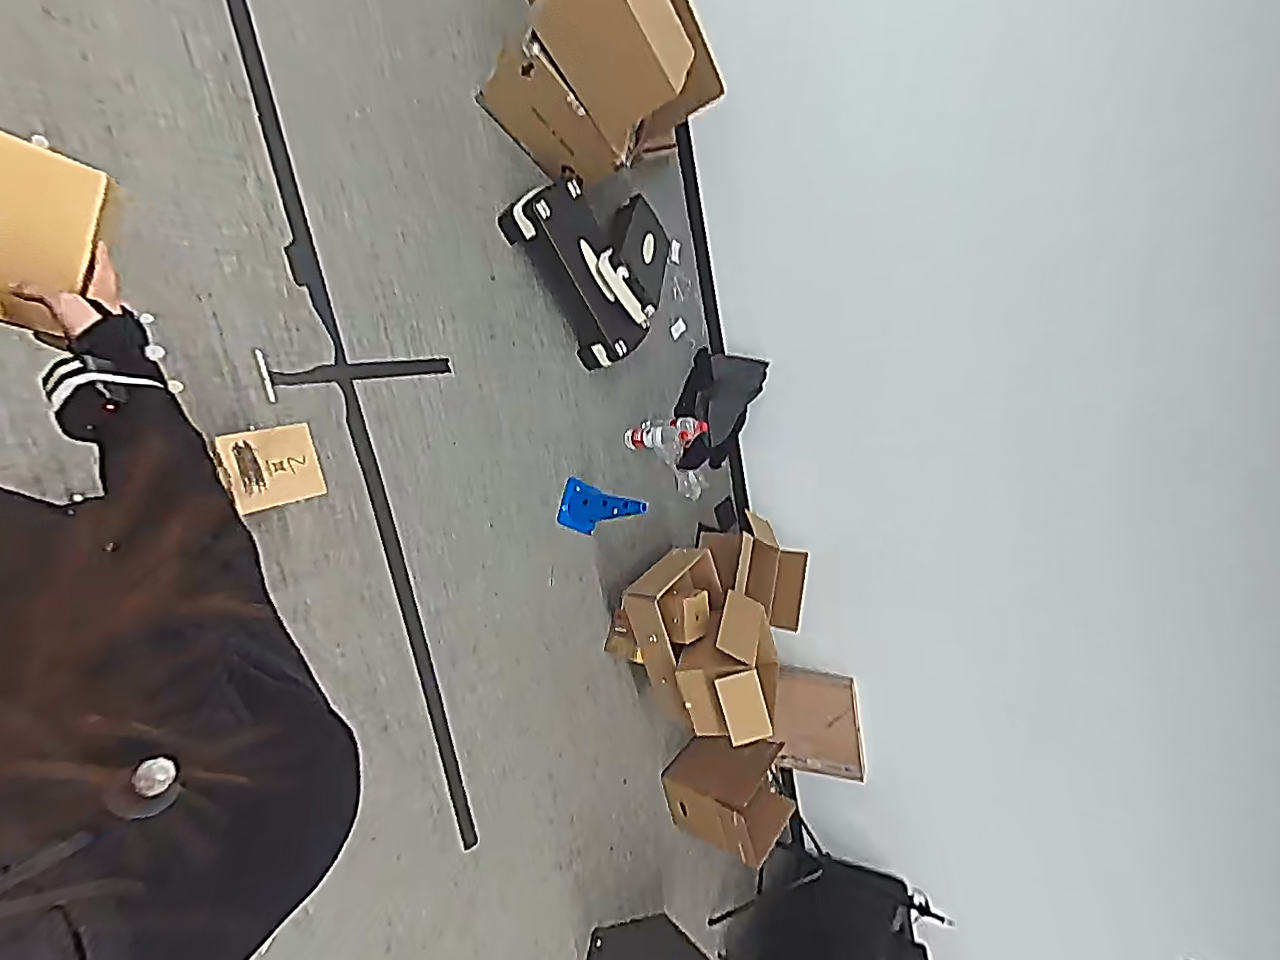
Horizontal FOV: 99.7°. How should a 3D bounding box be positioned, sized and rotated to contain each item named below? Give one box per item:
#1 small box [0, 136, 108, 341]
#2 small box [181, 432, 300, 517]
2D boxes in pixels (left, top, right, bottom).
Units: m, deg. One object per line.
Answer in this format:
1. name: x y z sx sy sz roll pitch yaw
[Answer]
1. small box: -0.680 -0.264 0.555 0.168 0.176 0.179 14 100 -43
2. small box: -0.972 -0.016 1.315 0.179 0.176 0.168 -24 106 -45
